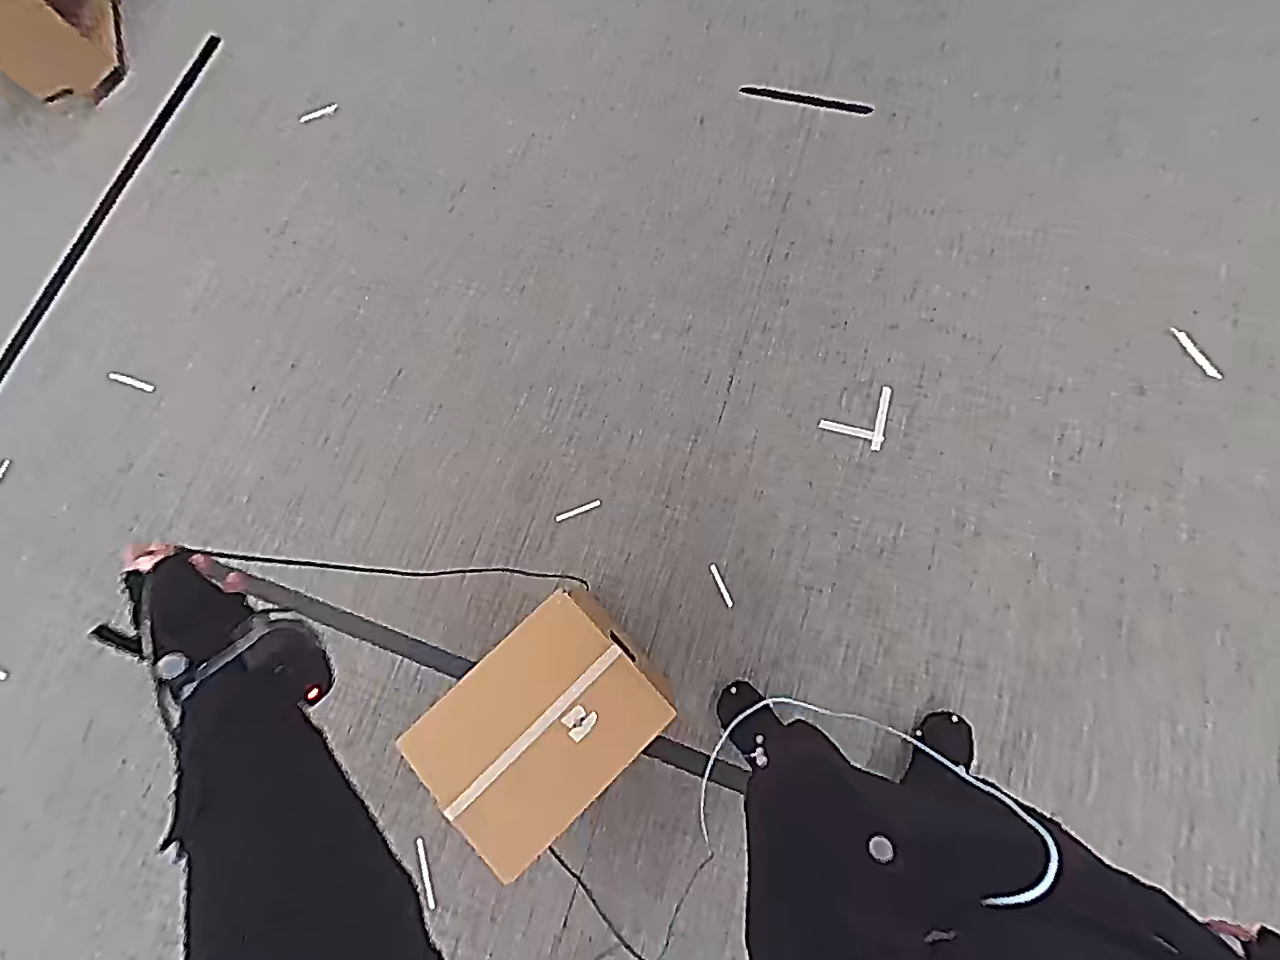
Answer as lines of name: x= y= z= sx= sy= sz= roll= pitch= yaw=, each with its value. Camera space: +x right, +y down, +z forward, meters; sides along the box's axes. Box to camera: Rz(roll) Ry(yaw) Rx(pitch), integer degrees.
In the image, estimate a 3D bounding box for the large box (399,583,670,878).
large box: x=-0.187 y=0.469 z=1.108 sx=0.408 sy=0.320 sz=0.320 roll=-43 pitch=81 yaw=-8
